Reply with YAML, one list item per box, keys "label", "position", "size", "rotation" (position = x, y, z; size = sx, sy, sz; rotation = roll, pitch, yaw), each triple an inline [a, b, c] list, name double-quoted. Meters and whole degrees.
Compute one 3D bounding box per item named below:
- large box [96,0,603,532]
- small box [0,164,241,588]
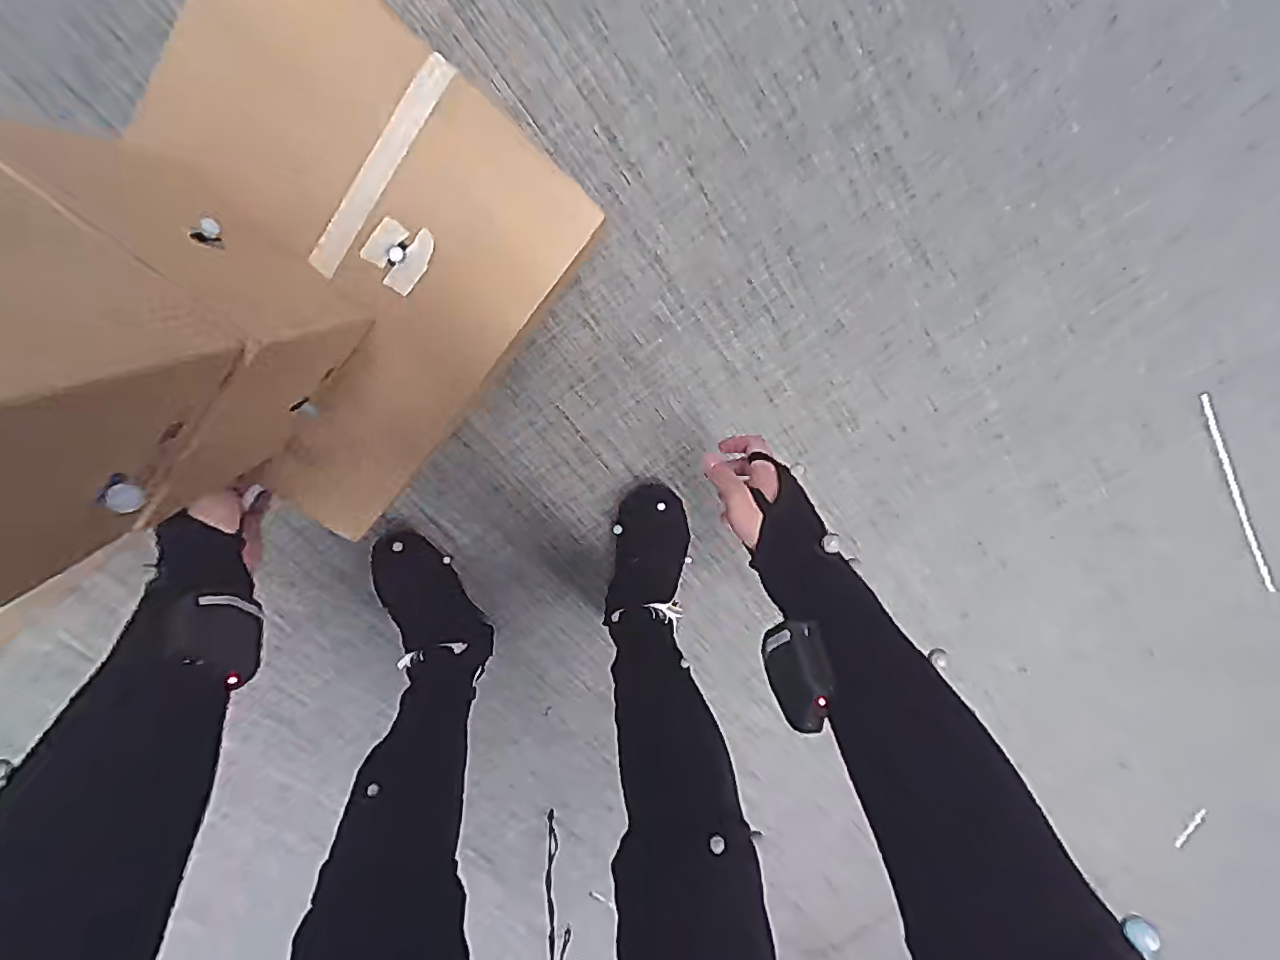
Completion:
- label: "large box"
  position: [-0.281, -0.228, 0.602]
  size: [0.320, 0.320, 0.408]
  rotation: [39, 104, -17]
- label: "small box"
  position: [-0.336, -0.045, 0.231]
  size: [0.179, 0.176, 0.168]
  rotation: [40, 105, -17]
